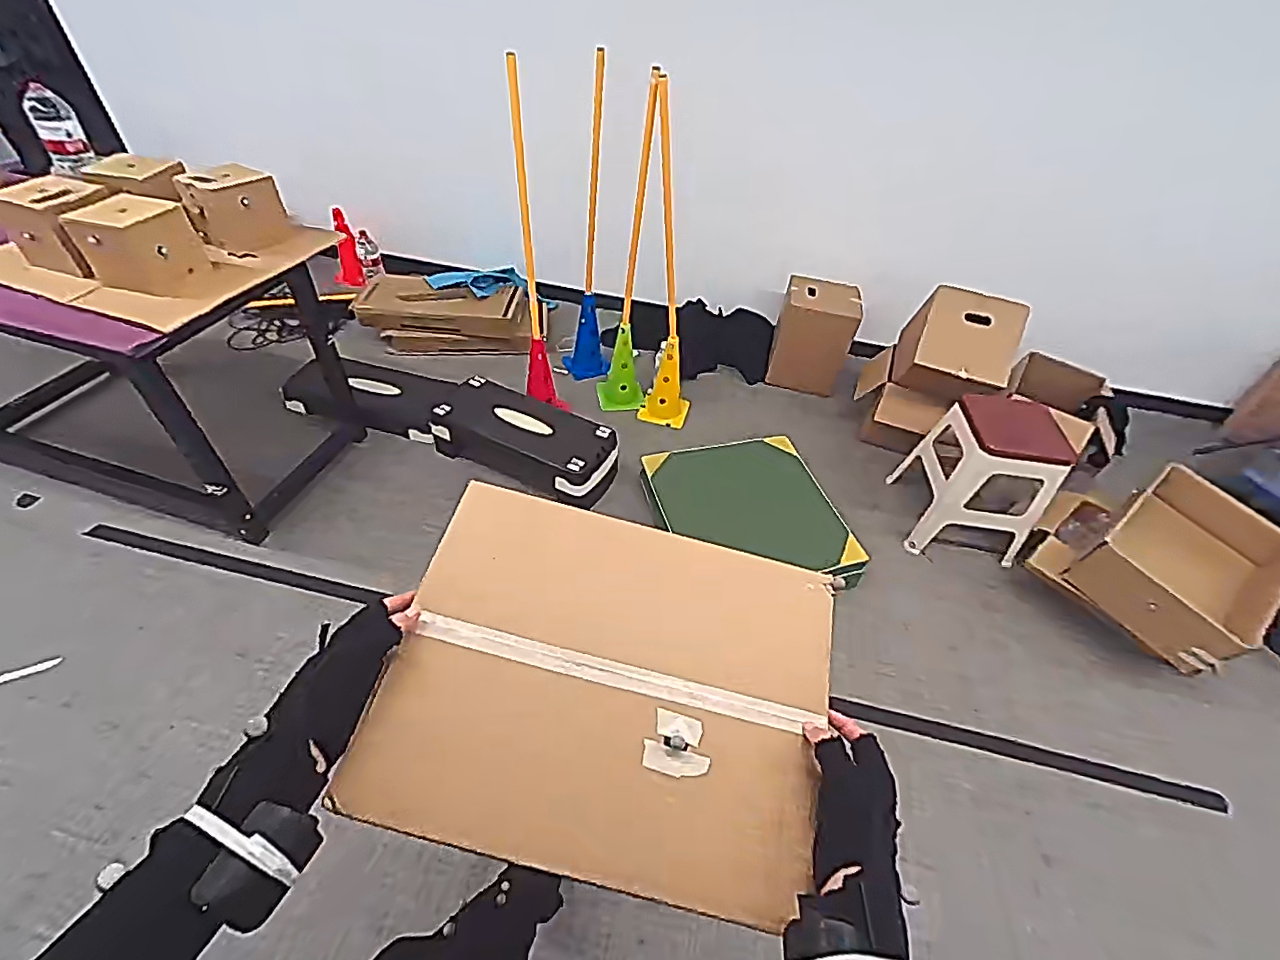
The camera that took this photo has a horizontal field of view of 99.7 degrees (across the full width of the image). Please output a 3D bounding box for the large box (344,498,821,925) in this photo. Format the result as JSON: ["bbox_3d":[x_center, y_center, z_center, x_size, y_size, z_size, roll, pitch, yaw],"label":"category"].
[{"bbox_3d":[-0.043,0.268,0.646,0.408,0.320,0.320,15,59,0],"label":"large box"}]
